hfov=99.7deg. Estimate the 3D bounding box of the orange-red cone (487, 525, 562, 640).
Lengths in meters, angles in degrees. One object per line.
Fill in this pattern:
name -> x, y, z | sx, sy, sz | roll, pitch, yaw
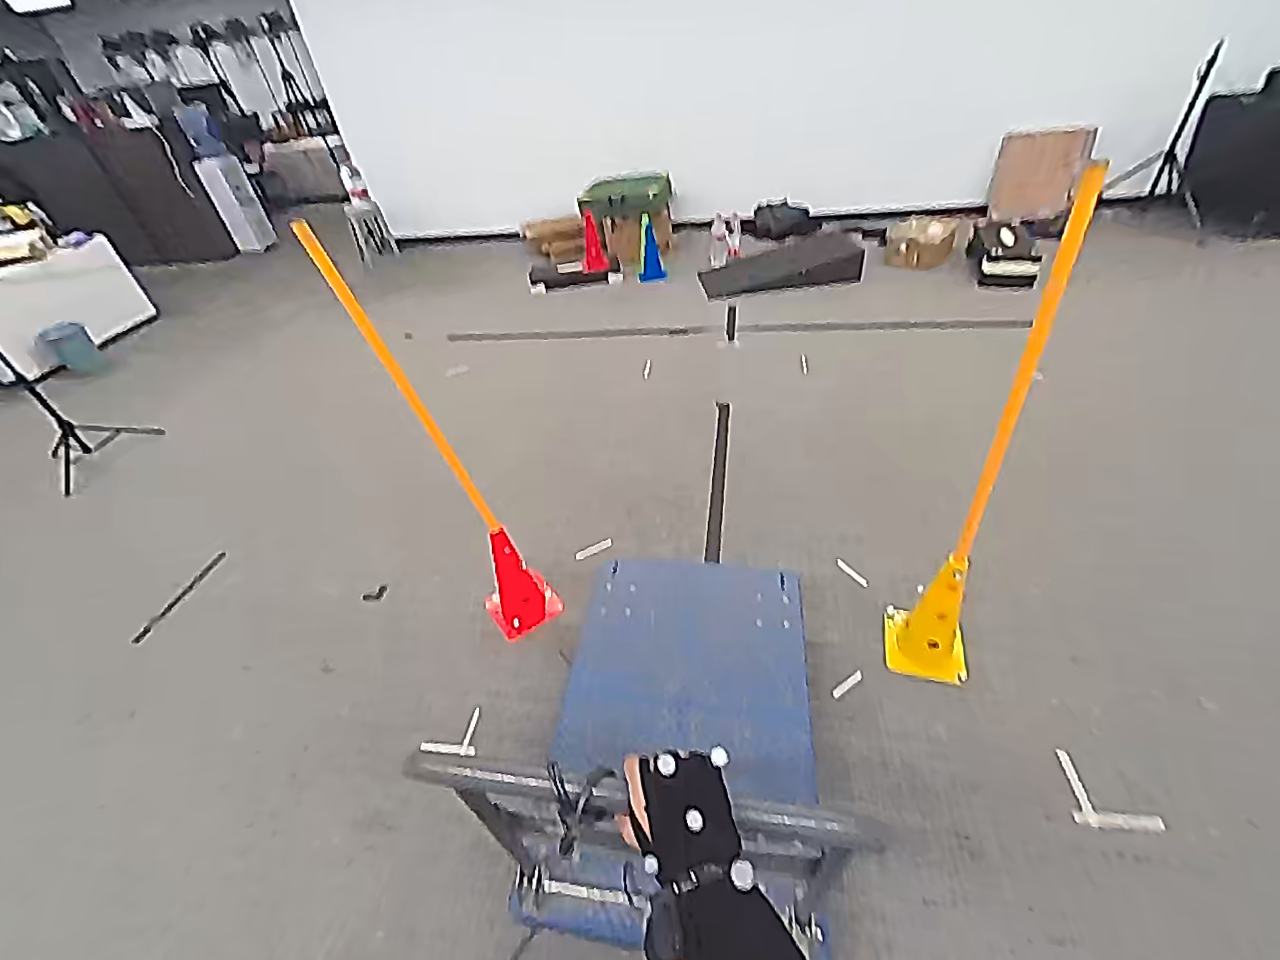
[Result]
orange-red cone -> -0.383, 0.272, 1.625 | 0.199, 0.360, 0.198 | -27, 45, -25
